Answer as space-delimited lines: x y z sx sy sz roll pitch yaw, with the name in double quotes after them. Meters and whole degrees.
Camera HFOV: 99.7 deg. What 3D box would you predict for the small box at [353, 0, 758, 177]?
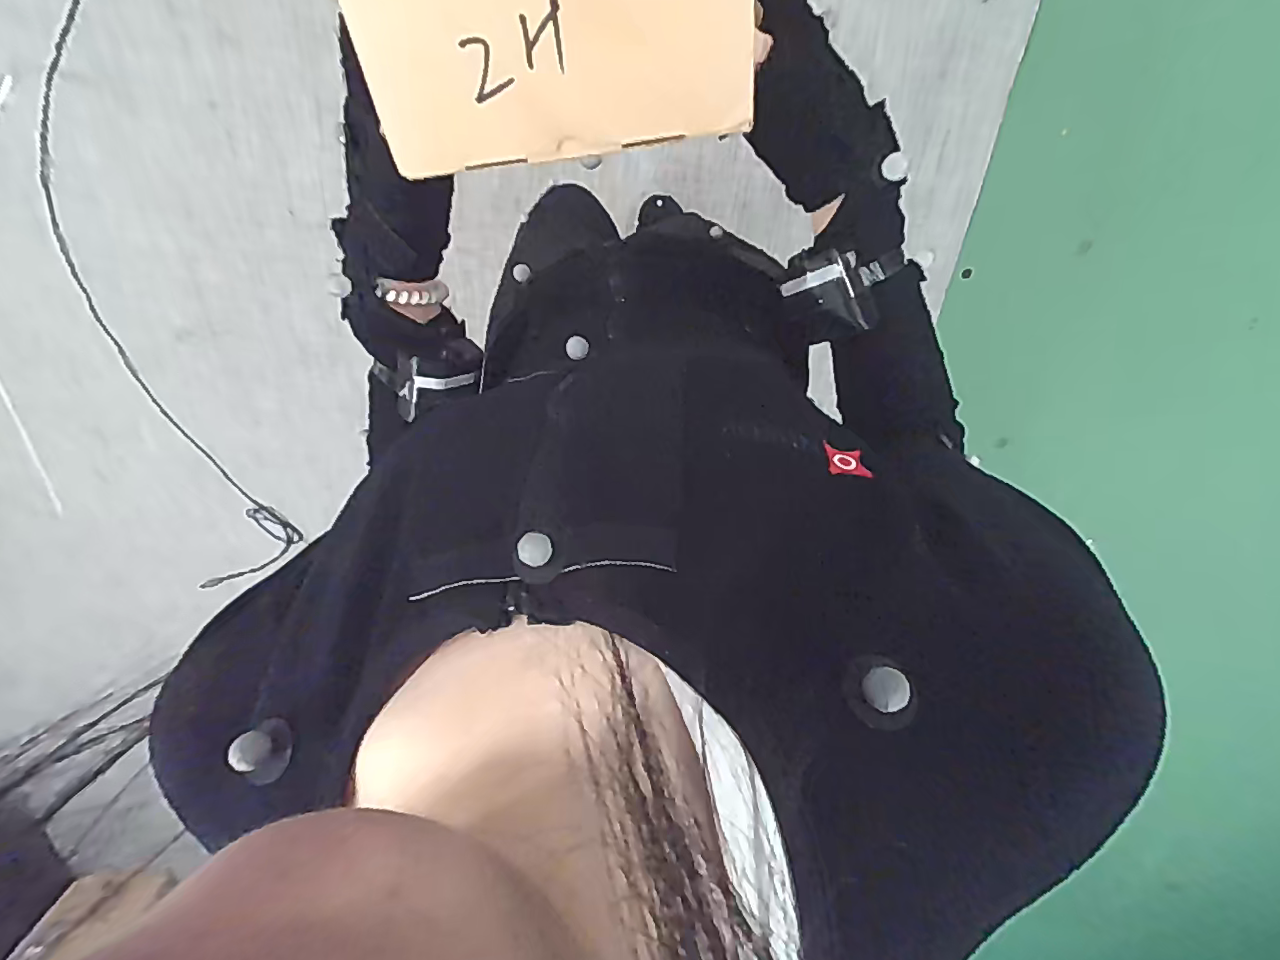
-0.039 -0.266 0.265 0.168 0.176 0.179 -6 126 4 "small box"
